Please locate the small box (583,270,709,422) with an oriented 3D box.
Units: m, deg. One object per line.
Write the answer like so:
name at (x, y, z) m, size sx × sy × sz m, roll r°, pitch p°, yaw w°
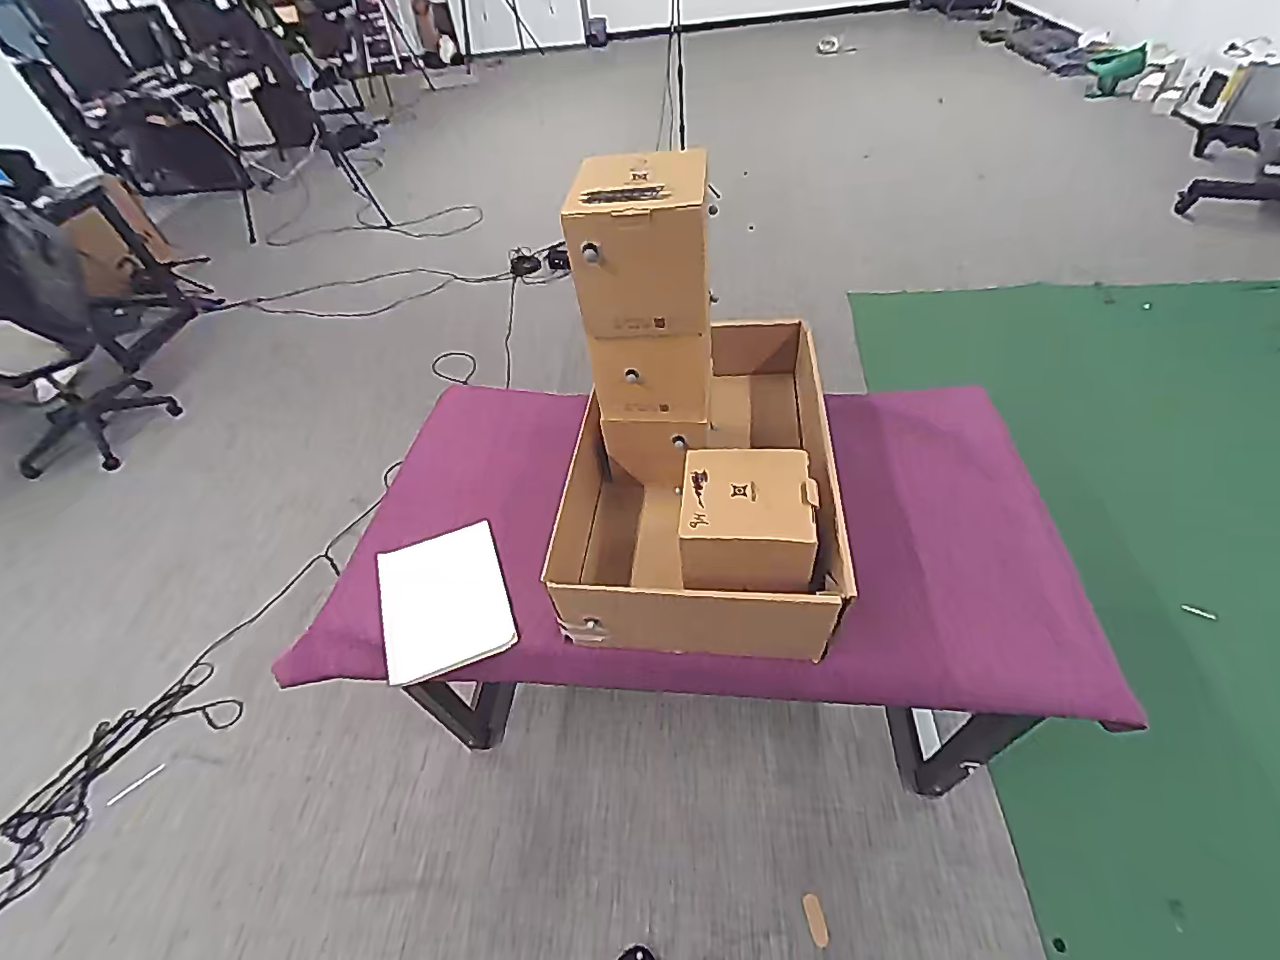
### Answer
small box at (0.020, -0.207, 0.853) m, size 0.168 × 0.176 × 0.179 m, roll 2°, pitch 49°, yaw 10°
